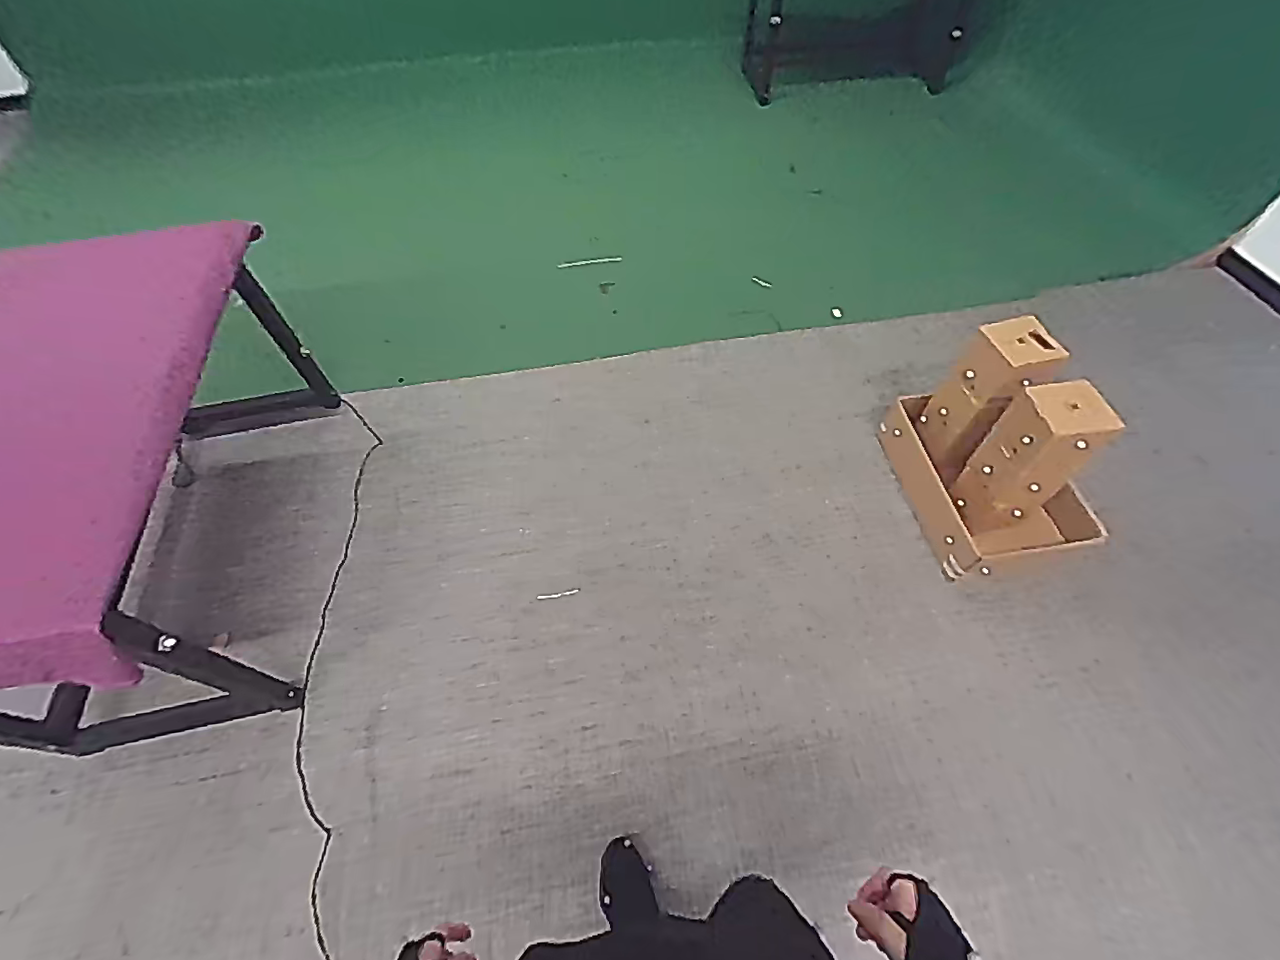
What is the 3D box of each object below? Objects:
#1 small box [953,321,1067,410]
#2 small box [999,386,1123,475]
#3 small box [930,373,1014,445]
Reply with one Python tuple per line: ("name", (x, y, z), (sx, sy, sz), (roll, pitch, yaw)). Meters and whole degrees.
("small box", (1.051, -0.326, 1.554), (0.179, 0.176, 0.168), (-13, 58, -7))
("small box", (1.090, -0.126, 1.427), (0.179, 0.176, 0.168), (-6, 55, -1))
("small box", (1.050, -0.228, 1.687), (0.179, 0.176, 0.168), (-8, 57, -4))
